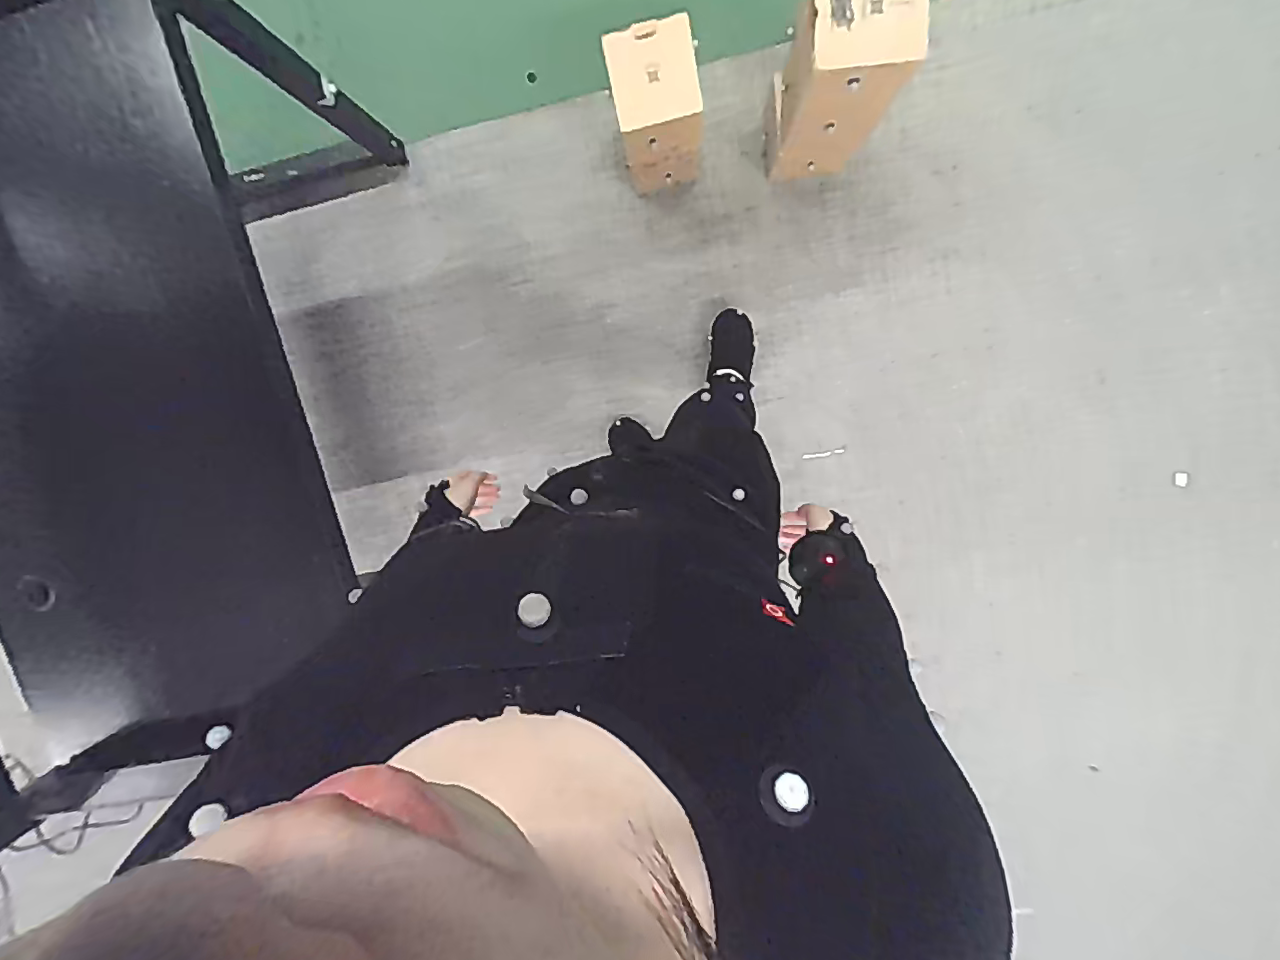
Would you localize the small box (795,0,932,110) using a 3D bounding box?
[{"bbox_3d":[0.359,-0.744,0.896,0.179,0.176,0.168,-3,101,4],"label":"small box"}]

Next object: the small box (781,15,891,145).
[{"bbox_3d":[0.377,-0.778,1.056,0.179,0.176,0.168,0,102,4],"label":"small box"}]

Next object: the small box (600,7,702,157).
[{"bbox_3d":[0.030,-0.778,1.084,0.168,0.176,0.179,-12,98,7],"label":"small box"}]
